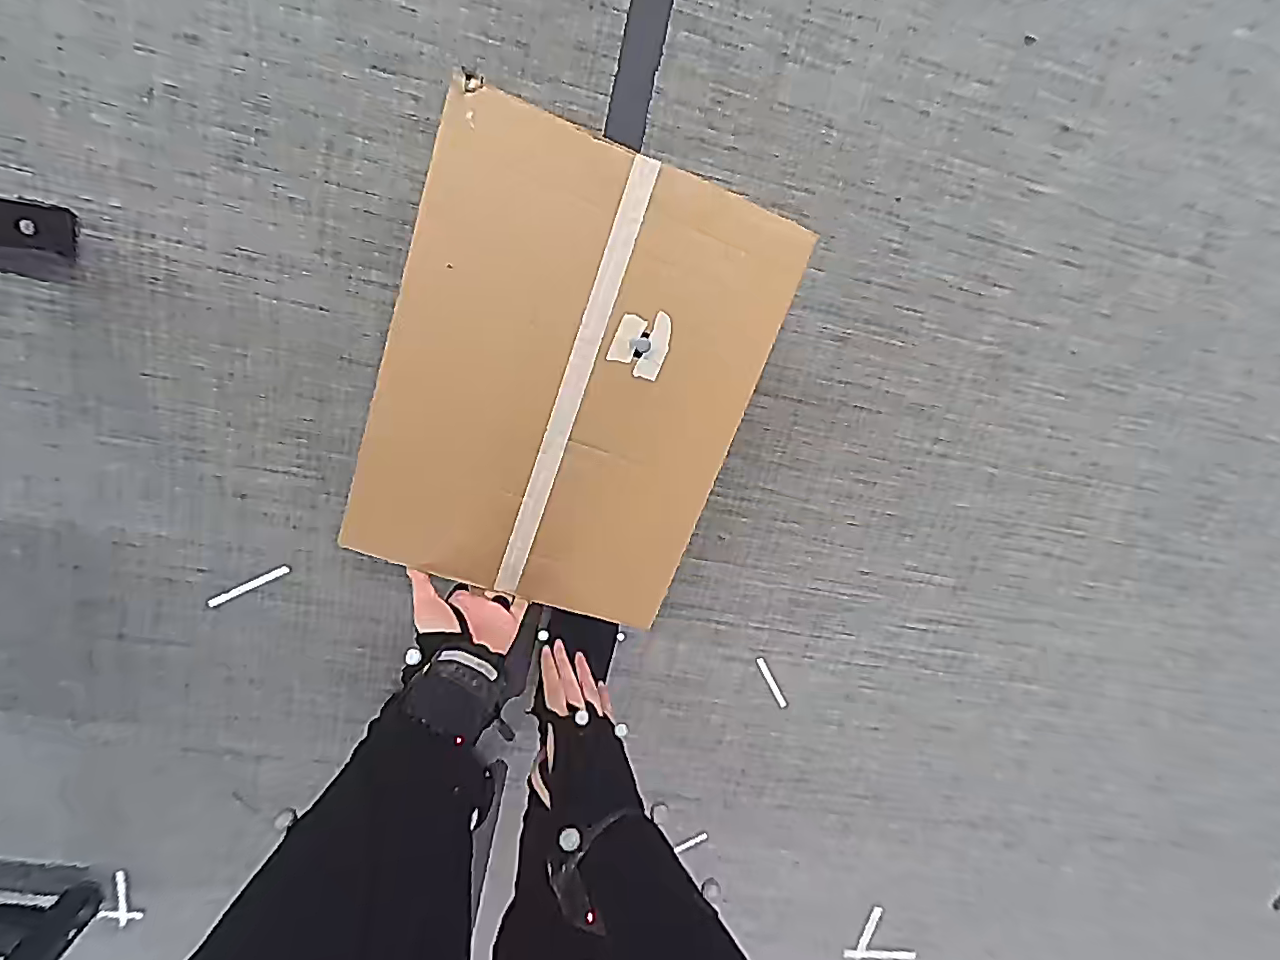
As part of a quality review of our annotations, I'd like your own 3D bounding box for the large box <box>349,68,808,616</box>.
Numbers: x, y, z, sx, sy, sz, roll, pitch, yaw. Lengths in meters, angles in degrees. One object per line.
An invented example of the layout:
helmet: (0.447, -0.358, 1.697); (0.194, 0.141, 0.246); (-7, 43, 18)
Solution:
large box: (-0.075, -0.126, 0.621); (0.320, 0.320, 0.408); (19, 104, -11)
